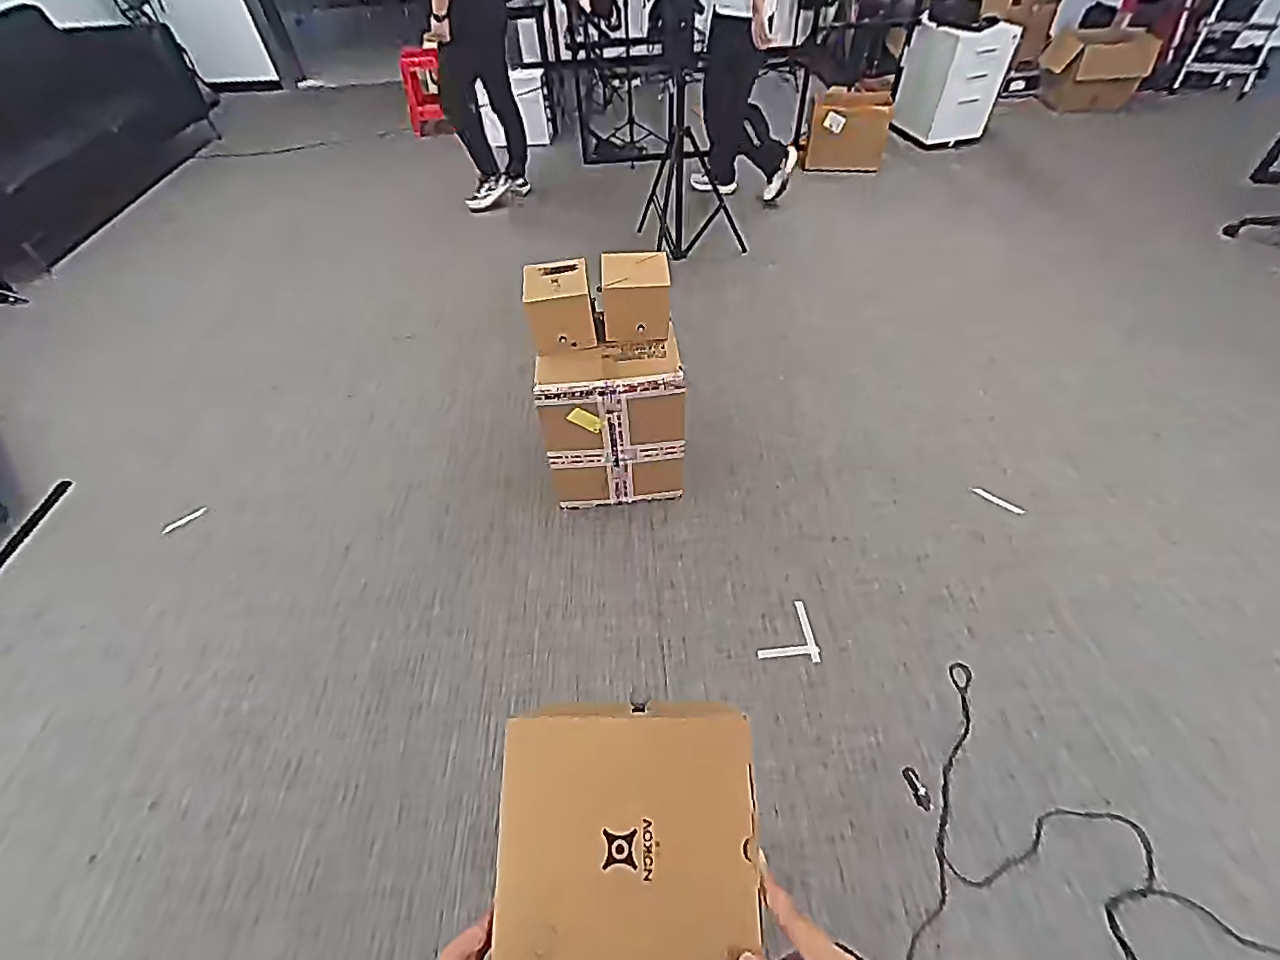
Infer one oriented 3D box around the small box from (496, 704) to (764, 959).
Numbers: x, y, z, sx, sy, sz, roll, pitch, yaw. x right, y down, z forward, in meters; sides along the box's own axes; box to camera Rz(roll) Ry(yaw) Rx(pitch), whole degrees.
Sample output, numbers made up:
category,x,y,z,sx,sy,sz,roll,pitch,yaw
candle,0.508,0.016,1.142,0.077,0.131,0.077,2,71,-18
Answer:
category,x,y,z,sx,sy,sz,roll,pitch,yaw
small box,-0.004,0.279,0.446,0.179,0.176,0.168,-1,70,1
